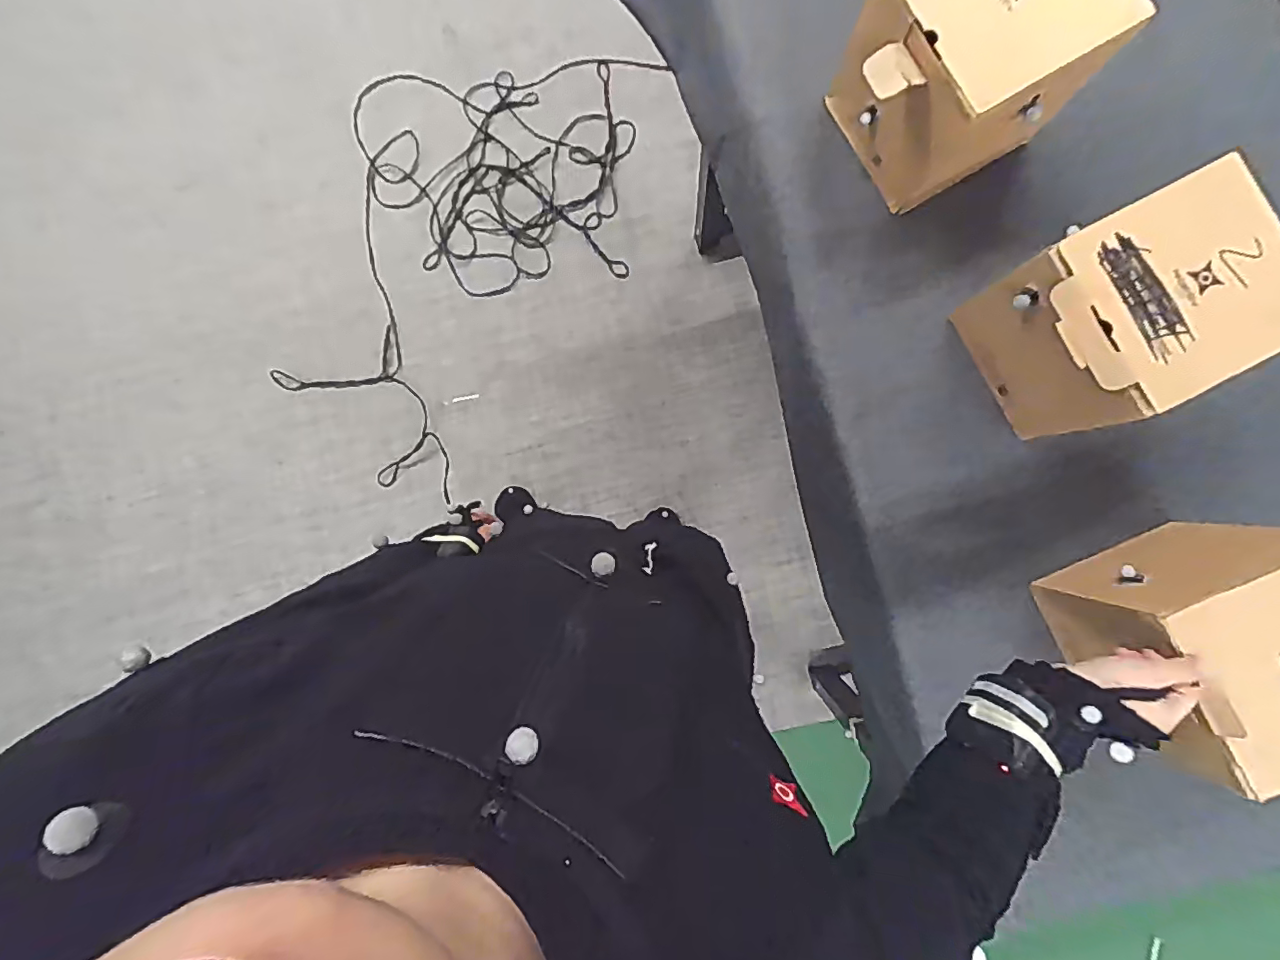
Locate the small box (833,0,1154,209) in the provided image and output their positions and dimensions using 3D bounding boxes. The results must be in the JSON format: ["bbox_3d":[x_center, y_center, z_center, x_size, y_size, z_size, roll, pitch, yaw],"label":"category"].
[{"bbox_3d":[0.328,-0.419,0.544,0.179,0.176,0.168,-30,87,2],"label":"small box"}]

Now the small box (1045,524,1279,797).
[{"bbox_3d":[0.539,0.151,0.516,0.179,0.176,0.168,-25,88,1],"label":"small box"}]
